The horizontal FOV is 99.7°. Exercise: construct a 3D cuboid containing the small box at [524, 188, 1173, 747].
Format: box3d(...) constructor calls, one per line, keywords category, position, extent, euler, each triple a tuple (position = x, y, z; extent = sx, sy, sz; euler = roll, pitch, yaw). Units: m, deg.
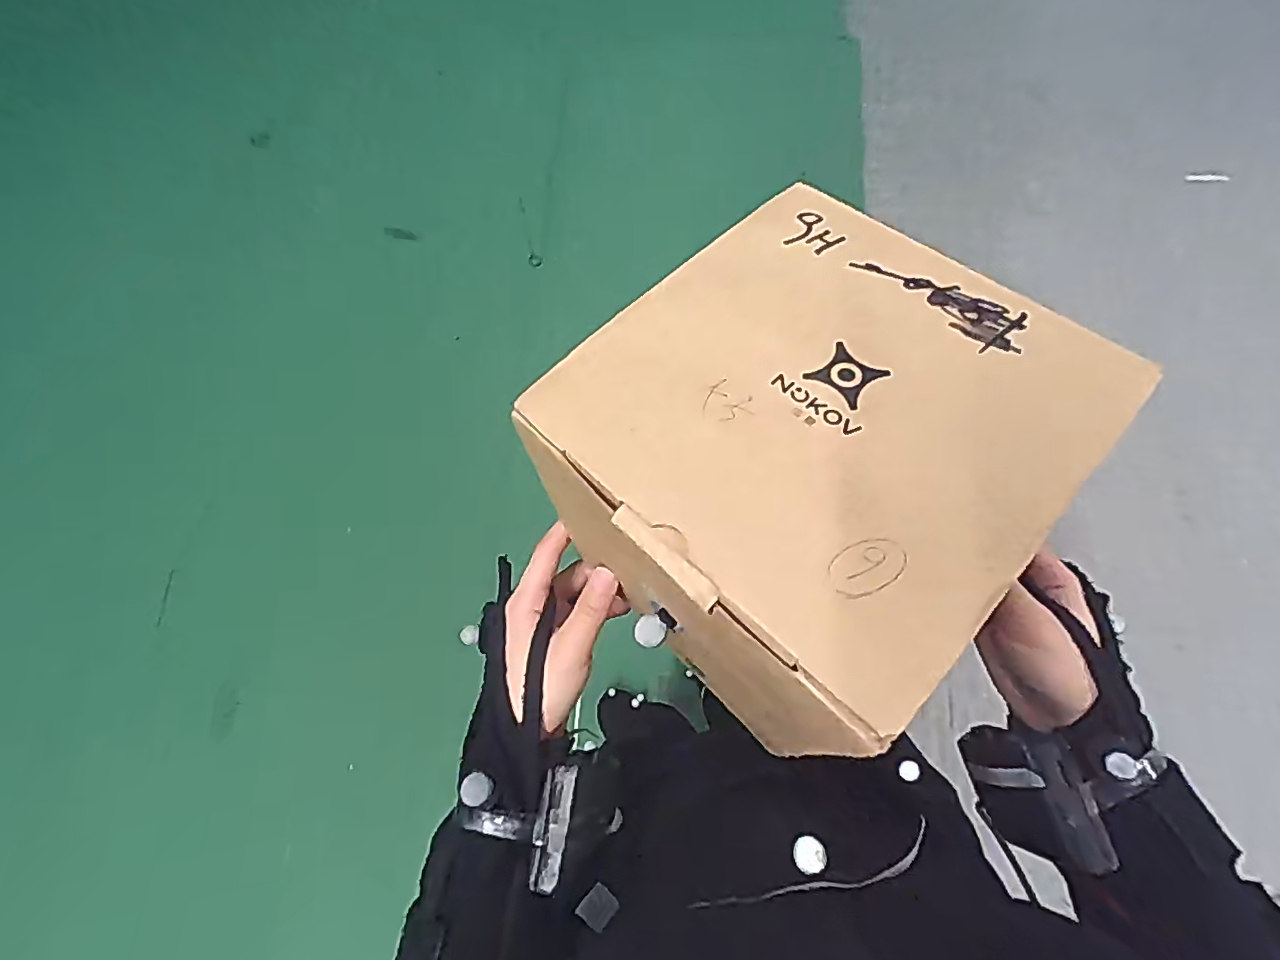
box3d(category="small box", position=(0.077, 0.006, 0.268), extent=(0.179, 0.176, 0.168), euler=(-41, 67, -15))
